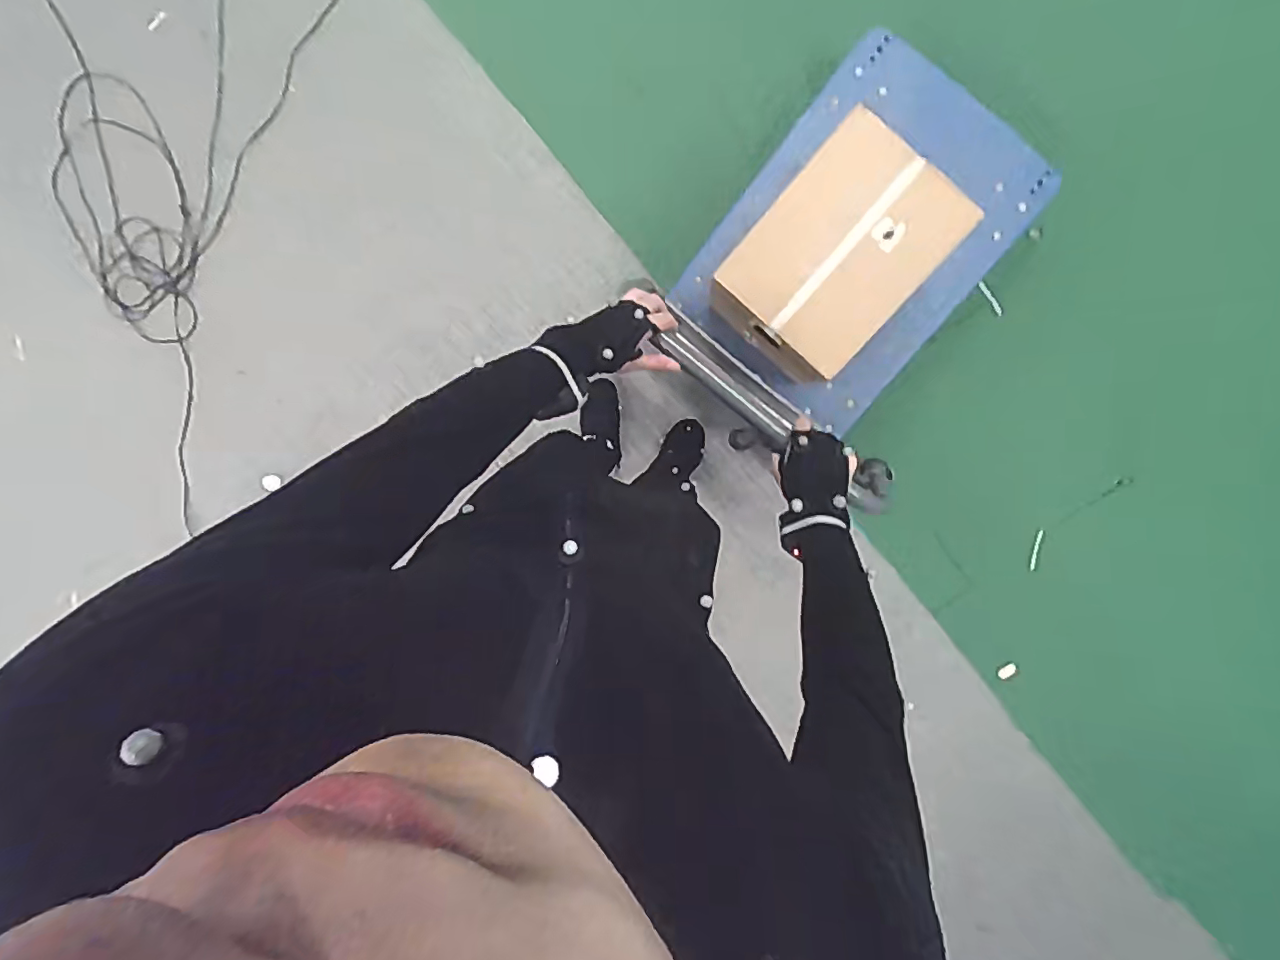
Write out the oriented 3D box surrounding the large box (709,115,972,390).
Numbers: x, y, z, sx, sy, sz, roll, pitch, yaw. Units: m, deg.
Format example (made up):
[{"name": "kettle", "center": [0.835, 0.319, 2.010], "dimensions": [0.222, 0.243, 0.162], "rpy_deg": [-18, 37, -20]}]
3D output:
[{"name": "large box", "center": [0.395, -0.452, 1.184], "dimensions": [0.320, 0.320, 0.408], "rpy_deg": [42, 98, -1]}]
